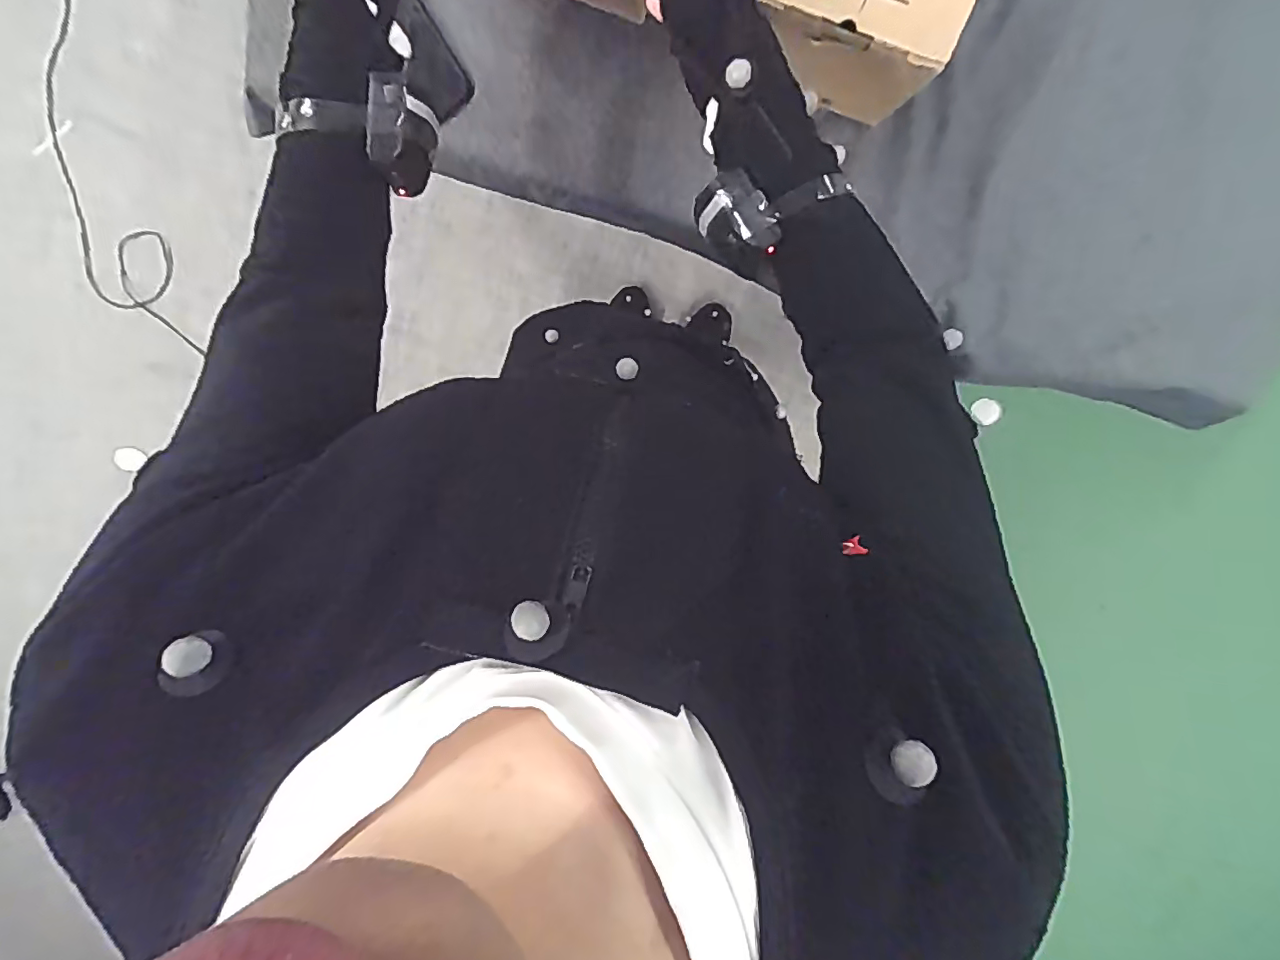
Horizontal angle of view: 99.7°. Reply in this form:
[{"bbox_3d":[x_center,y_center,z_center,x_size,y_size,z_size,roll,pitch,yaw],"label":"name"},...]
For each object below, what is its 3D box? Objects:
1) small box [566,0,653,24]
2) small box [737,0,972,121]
[{"bbox_3d":[-0.052,-0.538,0.448,0.168,0.176,0.179,18,111,-1],"label":"small box"},{"bbox_3d":[0.190,-0.444,0.459,0.168,0.176,0.179,19,109,-2],"label":"small box"}]
